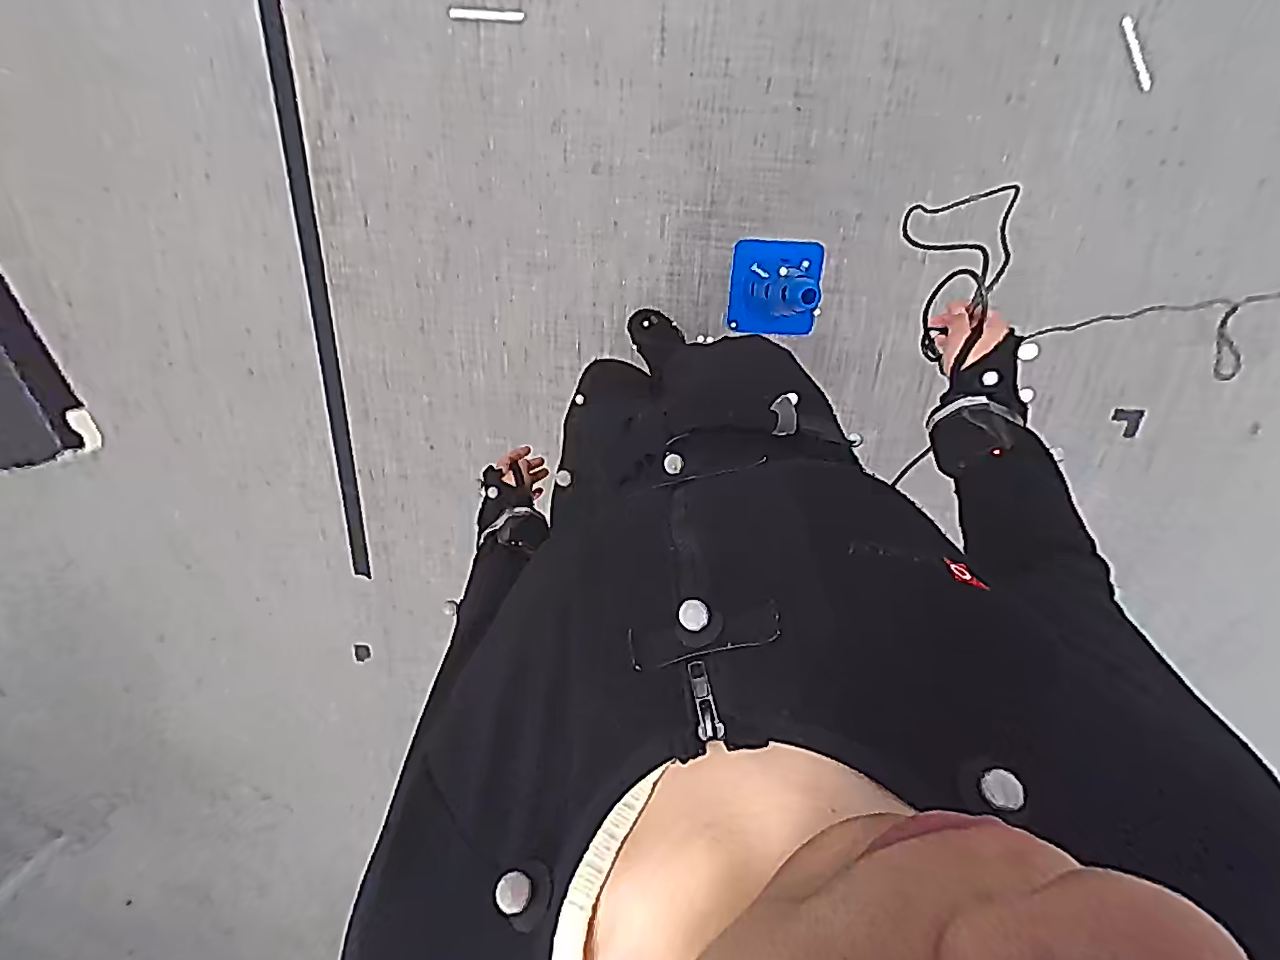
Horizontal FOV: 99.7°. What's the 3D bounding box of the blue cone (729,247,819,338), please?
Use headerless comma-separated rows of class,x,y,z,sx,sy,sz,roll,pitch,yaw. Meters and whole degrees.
blue cone,0.290,-0.360,1.066,0.193,0.380,0.192,5,112,2
